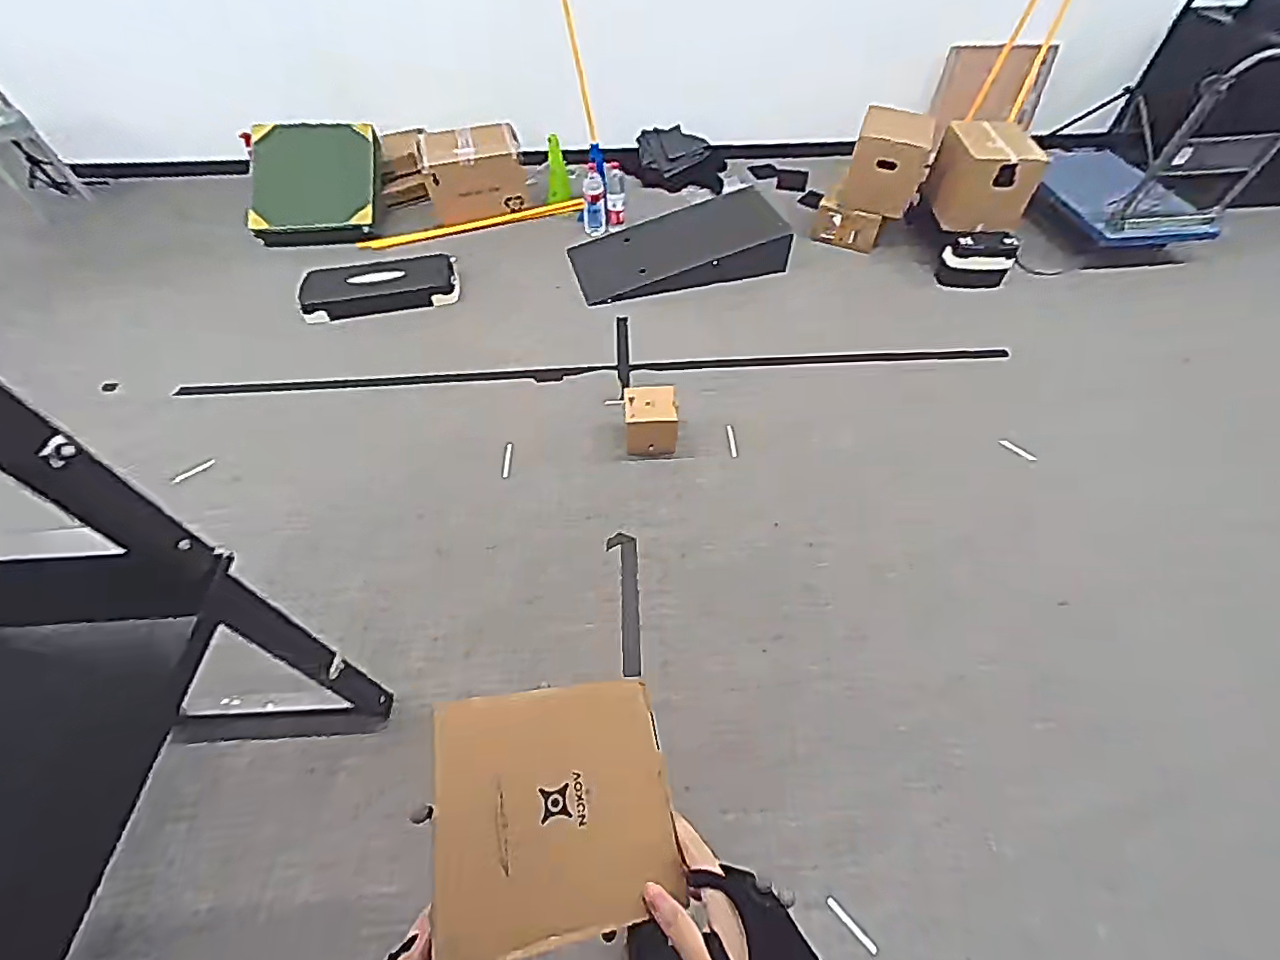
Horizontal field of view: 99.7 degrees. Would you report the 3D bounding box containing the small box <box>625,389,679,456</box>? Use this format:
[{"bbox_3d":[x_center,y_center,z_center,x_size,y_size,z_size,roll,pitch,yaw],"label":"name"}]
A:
[{"bbox_3d":[0.038,-0.198,1.886,0.179,0.176,0.168,-2,52,-2],"label":"small box"}]
